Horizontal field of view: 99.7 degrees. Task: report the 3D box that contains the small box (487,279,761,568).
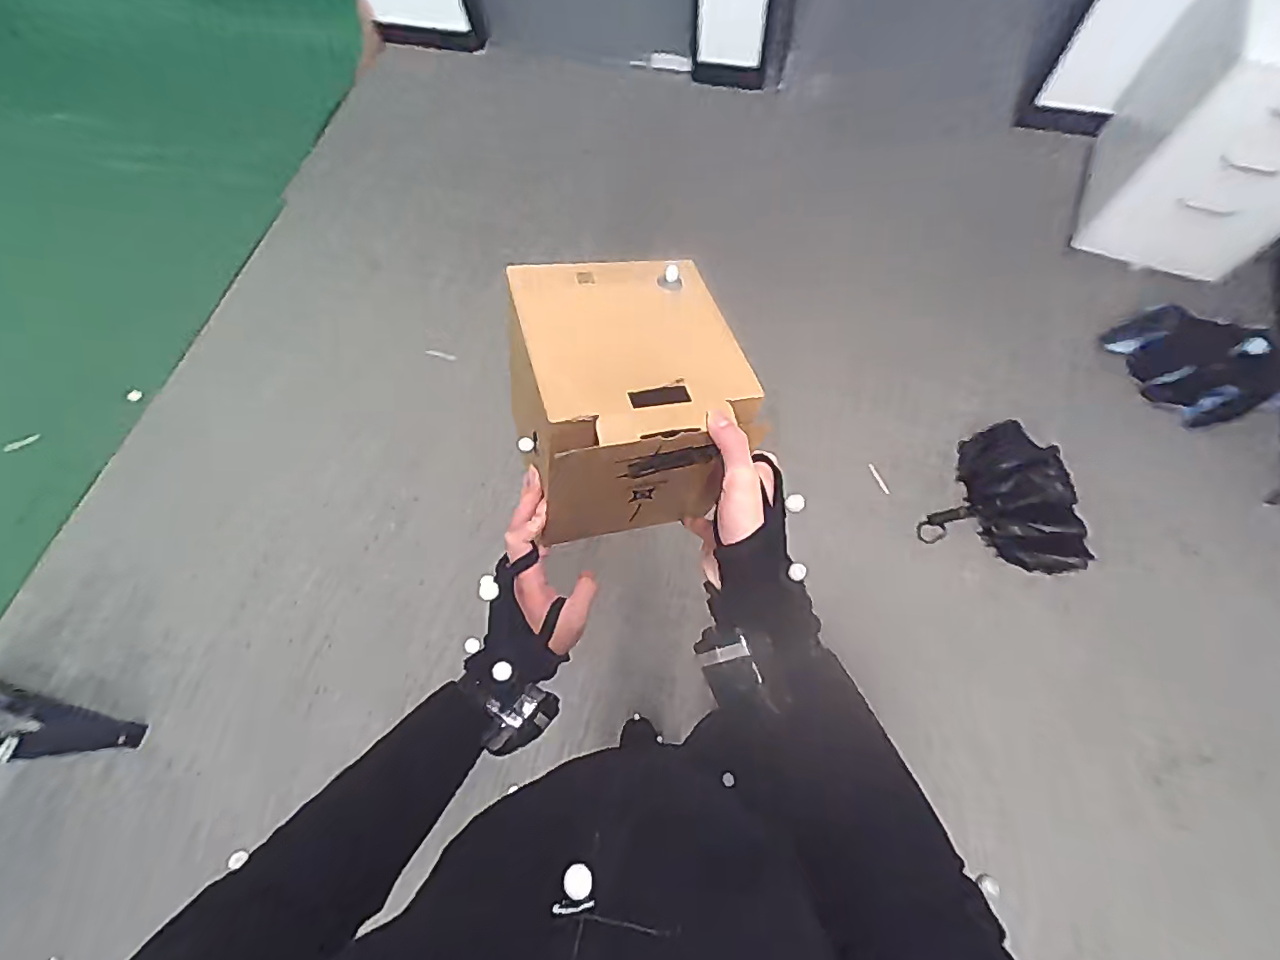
[{"bbox_3d":[-0.029,-0.052,0.458,0.168,0.179,0.176,-10,60,-18],"label":"small box"}]
